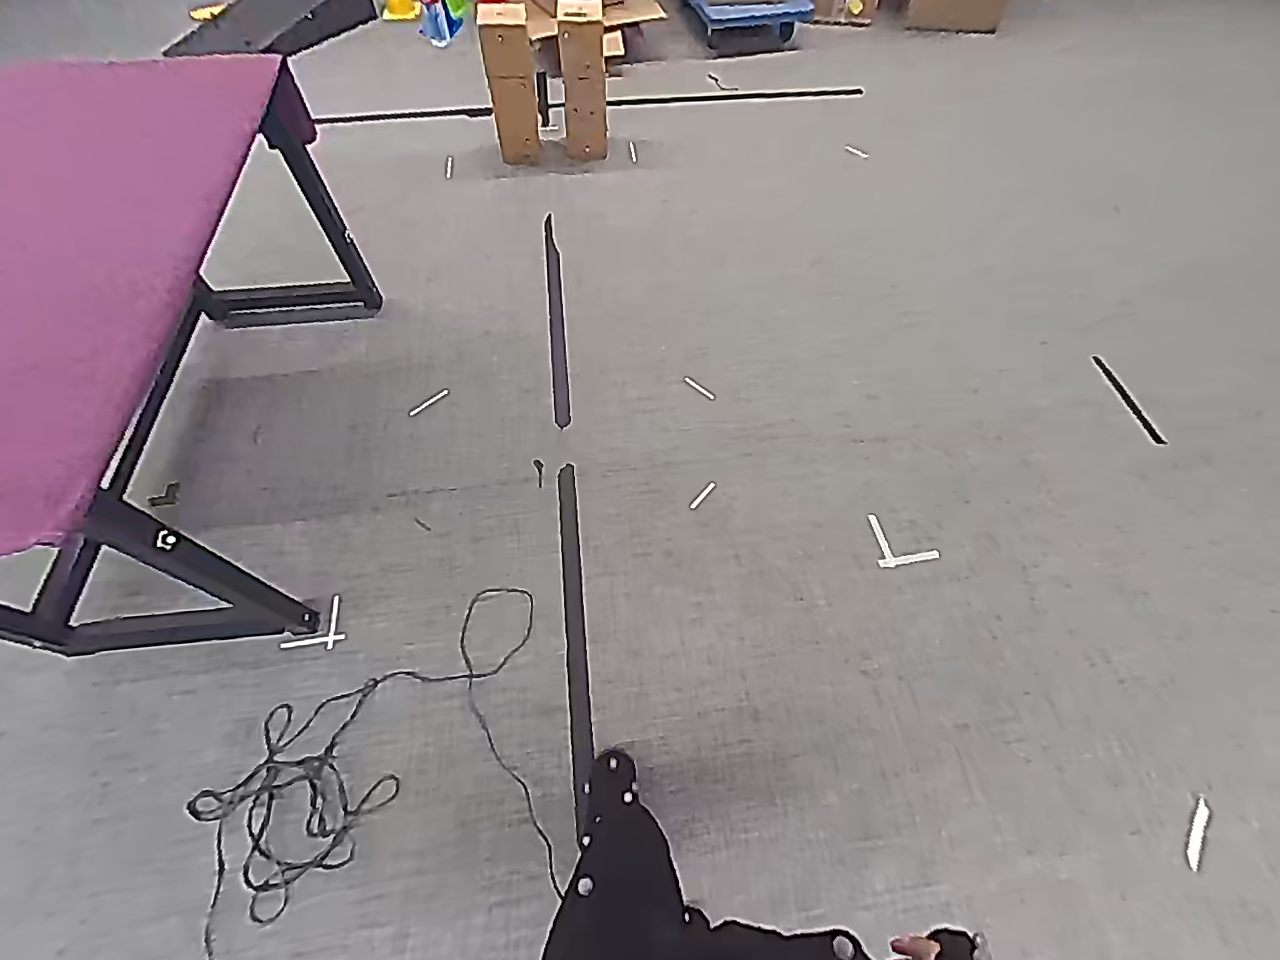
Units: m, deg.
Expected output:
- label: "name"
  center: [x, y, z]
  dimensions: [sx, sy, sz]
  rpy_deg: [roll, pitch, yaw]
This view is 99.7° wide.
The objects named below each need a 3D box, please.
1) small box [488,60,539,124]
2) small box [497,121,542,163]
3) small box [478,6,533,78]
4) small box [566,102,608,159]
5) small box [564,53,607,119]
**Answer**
- label: "small box"
  center: [-0.506, -1.556, 2.168]
  dimensions: [0.179, 0.176, 0.168]
  rpy_deg: [-5, 61, -6]
- label: "small box"
  center: [-0.515, -1.482, 2.313]
  dimensions: [0.168, 0.176, 0.179]
  rpy_deg: [-6, 60, -7]
- label: "small box"
  center: [-0.502, -1.638, 2.026]
  dimensions: [0.179, 0.176, 0.168]
  rpy_deg: [-5, 61, -7]
- label: "small box"
  center: [-0.228, -1.522, 2.344]
  dimensions: [0.179, 0.176, 0.168]
  rpy_deg: [-1, 61, -3]
- label: "small box"
  center: [-0.219, -1.598, 2.198]
  dimensions: [0.168, 0.176, 0.179]
  rpy_deg: [-3, 60, -4]
